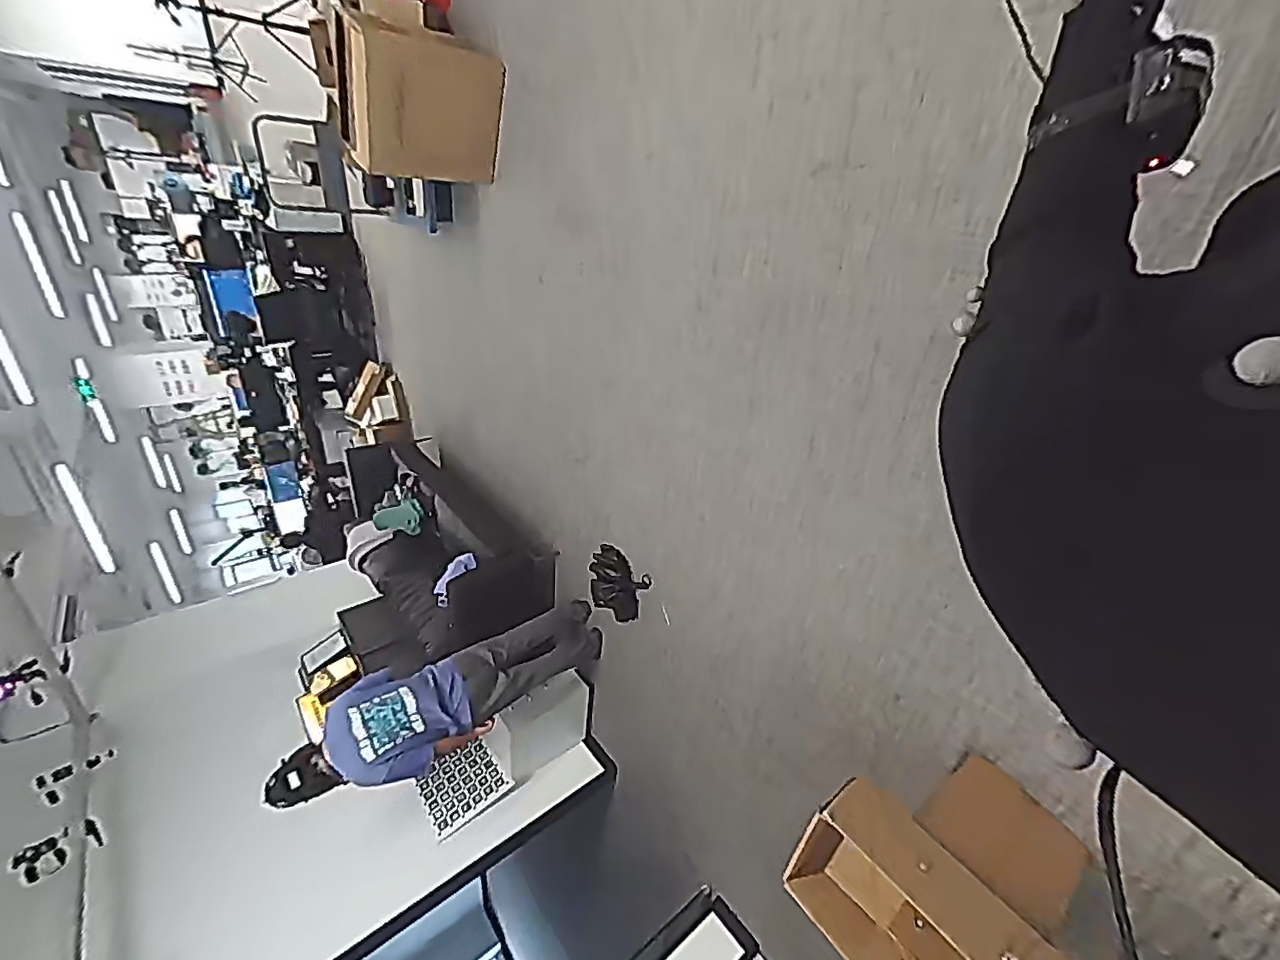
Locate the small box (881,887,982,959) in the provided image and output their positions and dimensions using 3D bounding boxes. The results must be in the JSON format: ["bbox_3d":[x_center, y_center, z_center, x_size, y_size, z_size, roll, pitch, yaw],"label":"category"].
[{"bbox_3d":[0.677,1.129,1.287,0.168,0.176,0.179,37,134,42],"label":"small box"}]

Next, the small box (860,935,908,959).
[{"bbox_3d":[0.546,1.174,1.200,0.168,0.176,0.179,37,131,41],"label":"small box"}]
